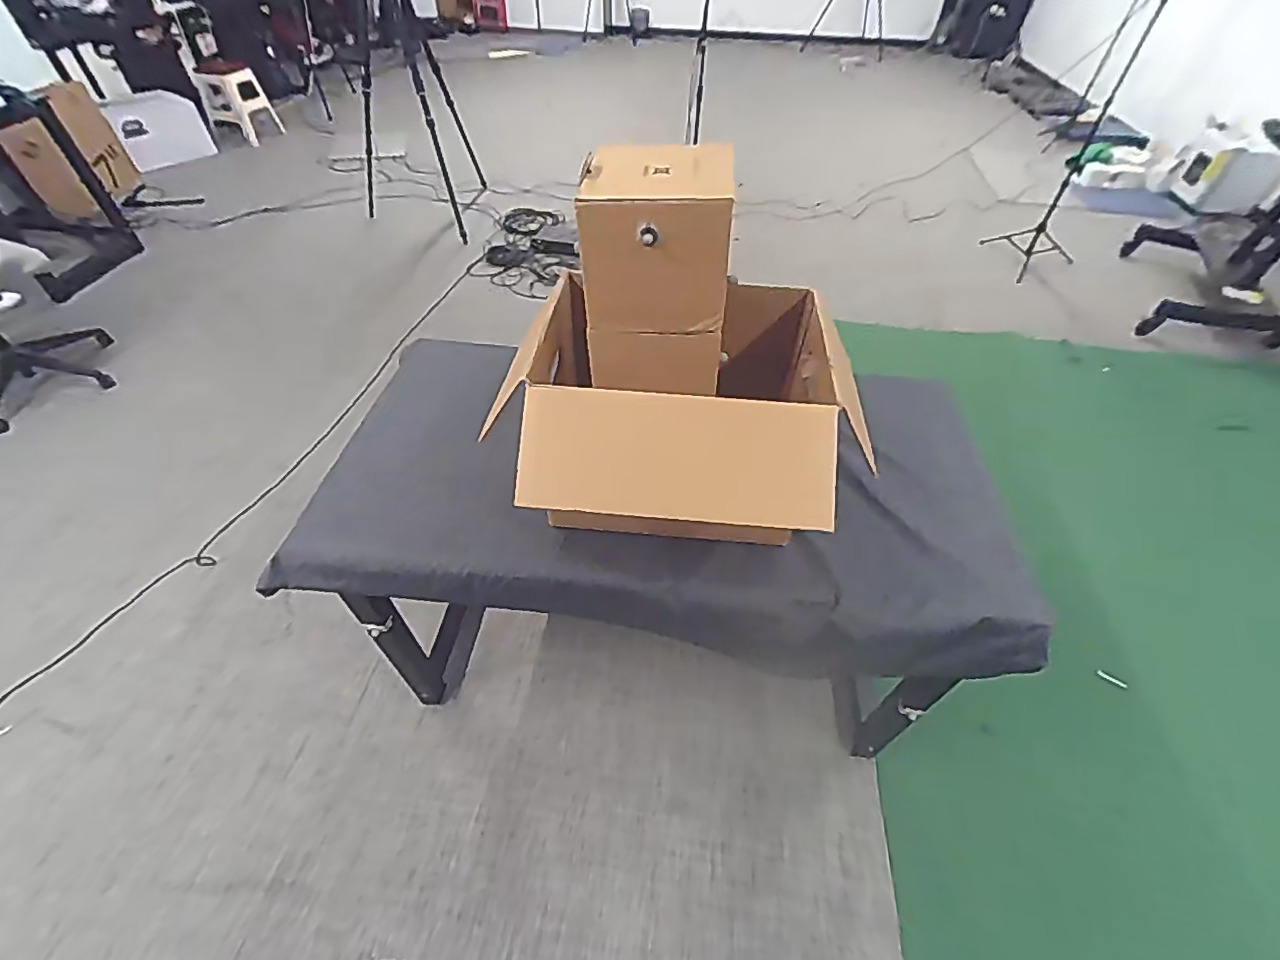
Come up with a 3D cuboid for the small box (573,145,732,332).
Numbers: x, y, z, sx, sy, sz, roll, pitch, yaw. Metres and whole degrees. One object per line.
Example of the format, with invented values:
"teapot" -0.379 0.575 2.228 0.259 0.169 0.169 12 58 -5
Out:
"small box" 0.022 -0.306 0.692 0.179 0.176 0.168 3 50 4
